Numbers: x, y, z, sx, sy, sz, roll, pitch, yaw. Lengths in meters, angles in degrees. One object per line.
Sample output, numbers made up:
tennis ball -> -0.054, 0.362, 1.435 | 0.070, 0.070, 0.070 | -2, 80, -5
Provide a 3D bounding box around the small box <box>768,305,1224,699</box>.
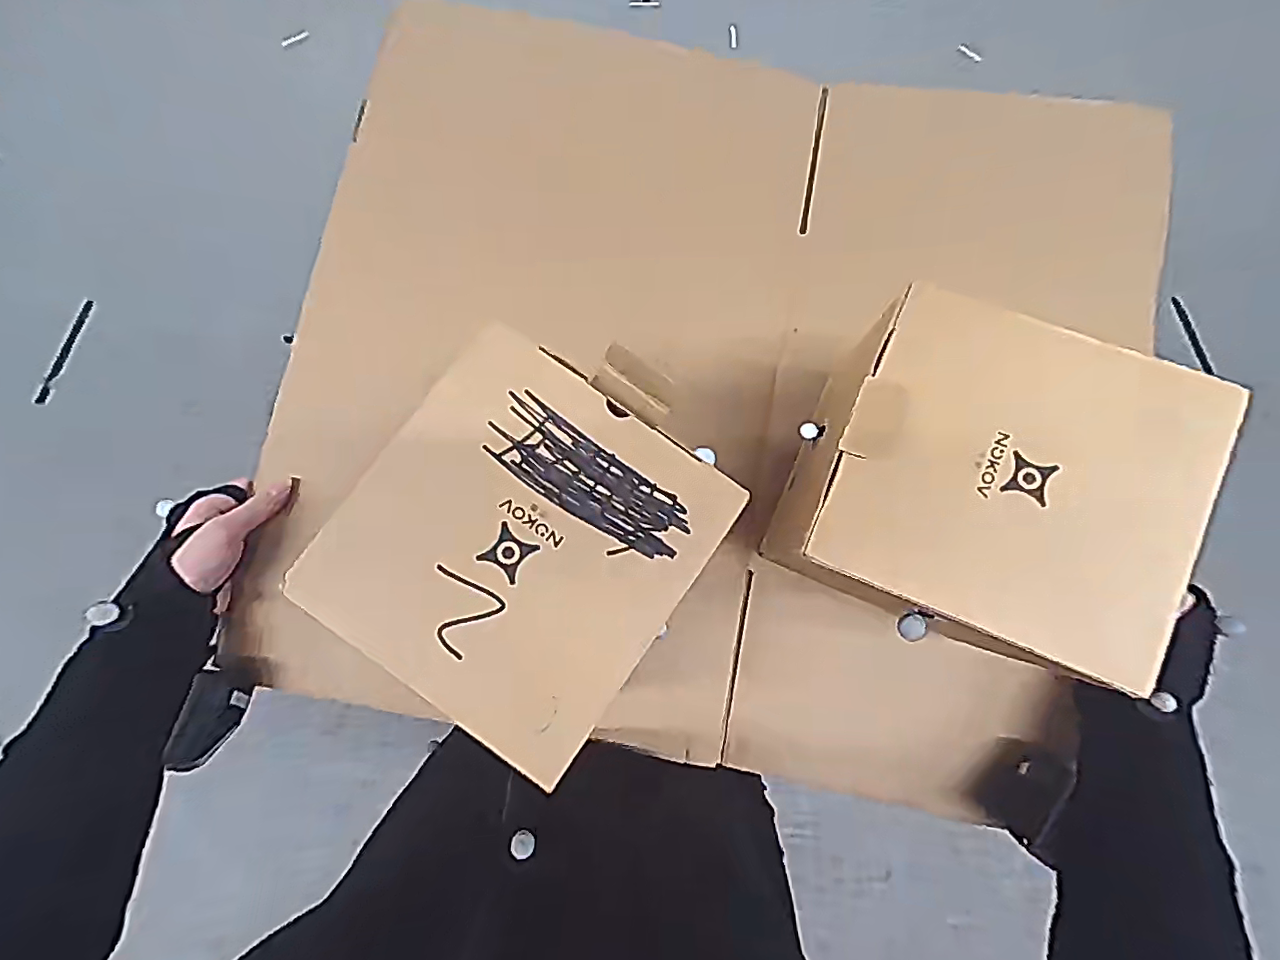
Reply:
small box -> 0.204, 0.015, 0.369 | 0.179, 0.176, 0.168 | 22, 86, 9
